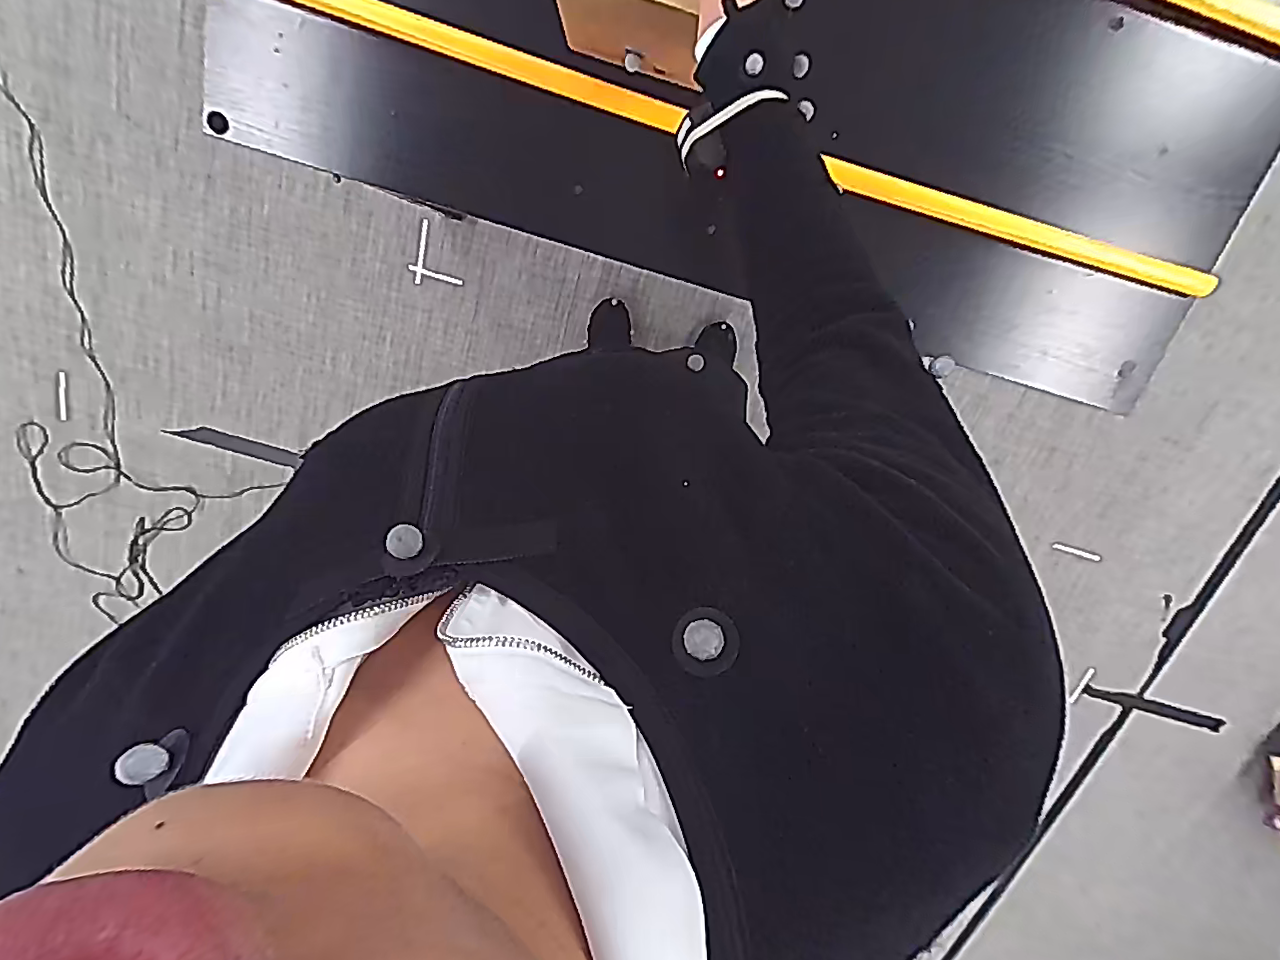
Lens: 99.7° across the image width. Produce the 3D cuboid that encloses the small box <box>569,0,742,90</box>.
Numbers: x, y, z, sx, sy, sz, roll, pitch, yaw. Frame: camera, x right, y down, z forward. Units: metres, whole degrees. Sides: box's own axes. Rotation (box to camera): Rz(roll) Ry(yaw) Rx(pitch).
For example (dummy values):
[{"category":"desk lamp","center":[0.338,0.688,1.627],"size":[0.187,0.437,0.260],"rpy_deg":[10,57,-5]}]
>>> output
[{"category":"small box","center":[0.026,-0.514,0.505],"size":[0.168,0.176,0.179],"rpy_deg":[15,109,-5]}]
